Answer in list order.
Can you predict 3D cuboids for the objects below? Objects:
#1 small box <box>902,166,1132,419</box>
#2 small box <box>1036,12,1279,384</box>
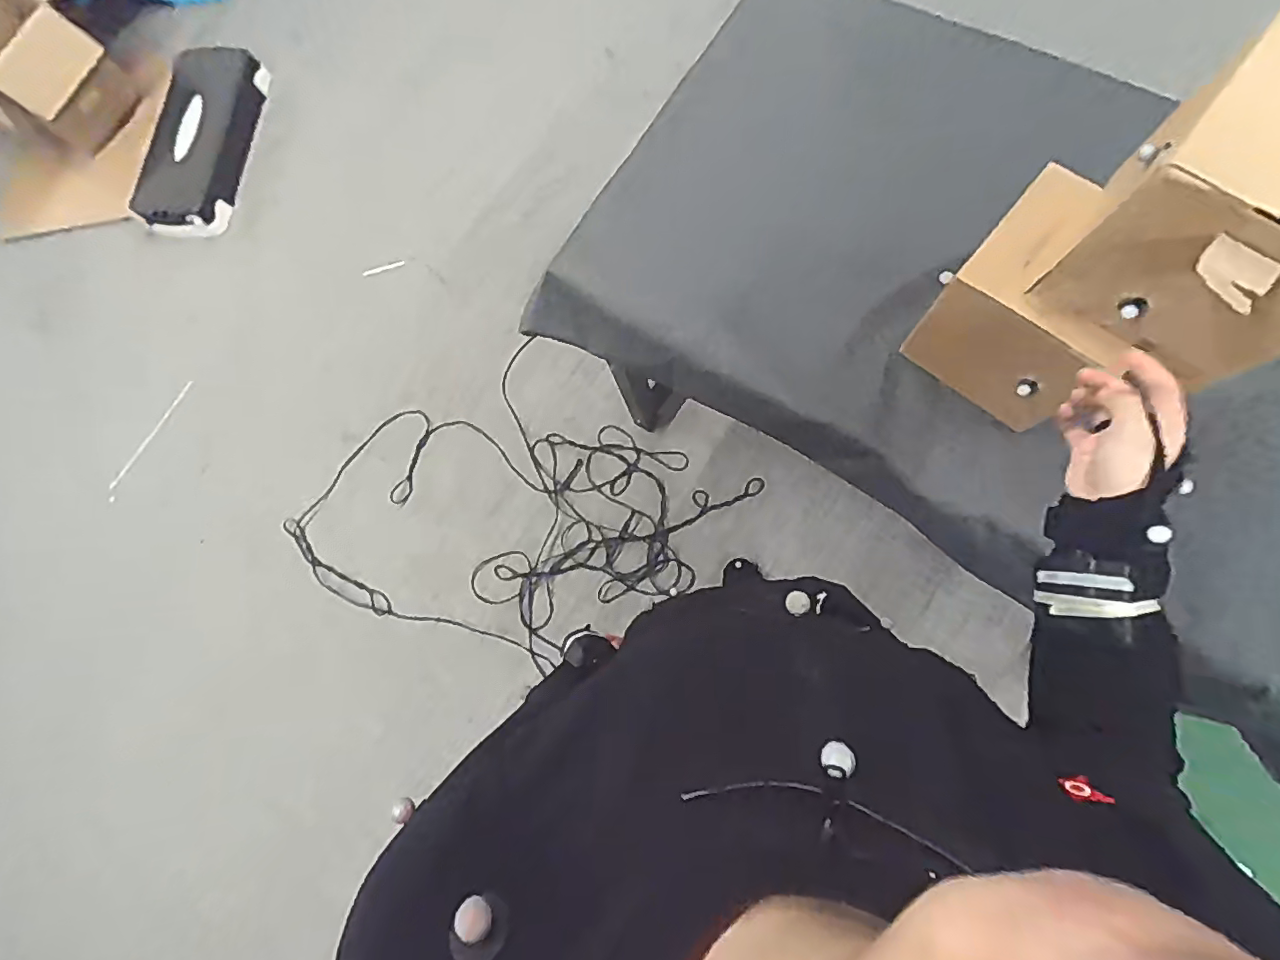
[{"bbox_3d":[0.433,-0.187,0.596,0.179,0.176,0.168,40,84,14],"label":"small box"},{"bbox_3d":[0.472,-0.210,0.429,0.168,0.176,0.179,38,85,12],"label":"small box"}]
